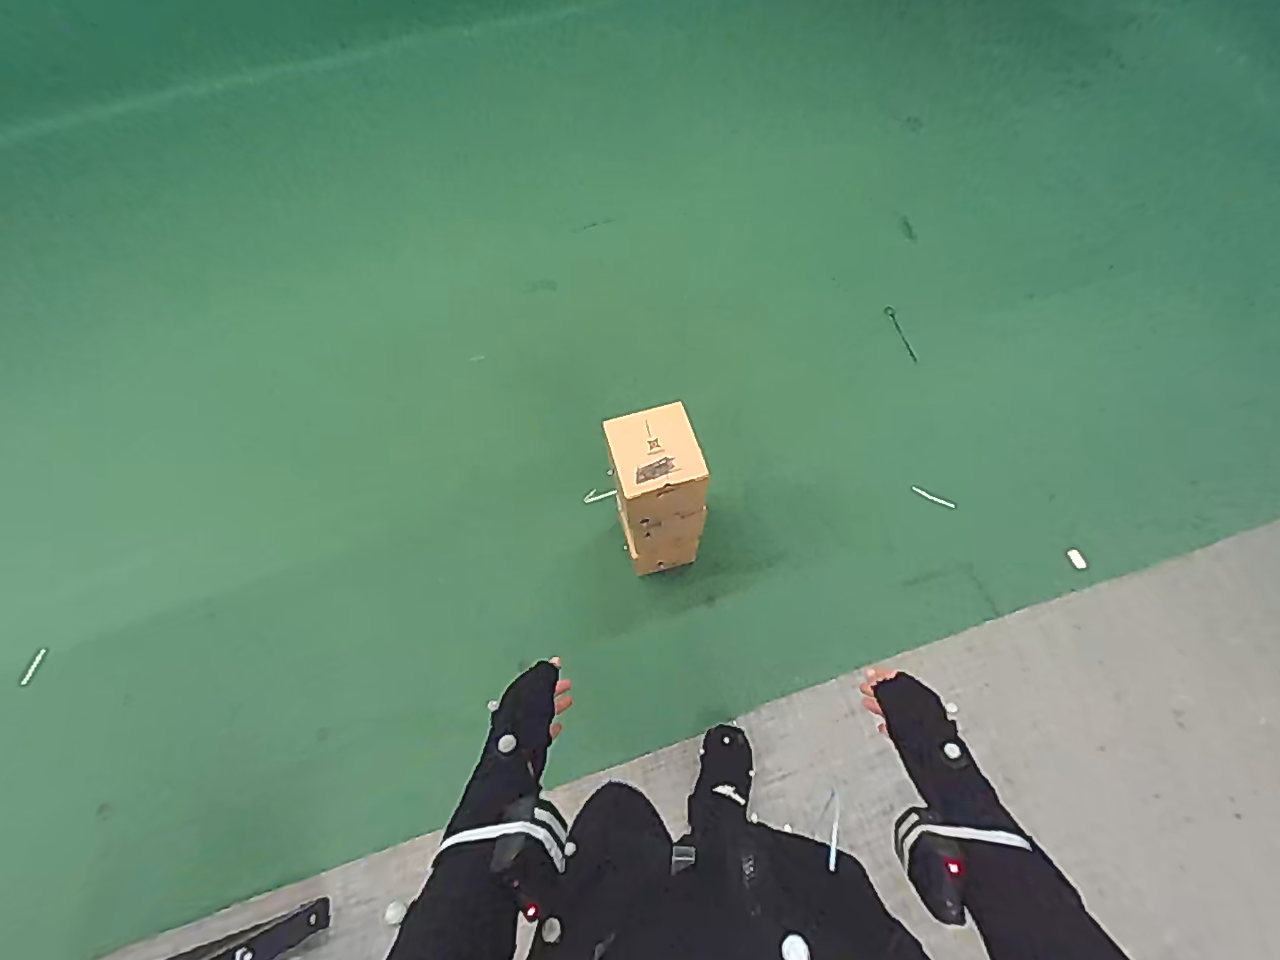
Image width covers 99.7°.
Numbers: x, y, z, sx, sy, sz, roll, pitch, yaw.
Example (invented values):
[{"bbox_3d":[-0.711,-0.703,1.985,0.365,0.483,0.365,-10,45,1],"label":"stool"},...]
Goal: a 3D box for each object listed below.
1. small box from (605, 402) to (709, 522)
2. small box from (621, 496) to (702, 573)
[{"bbox_3d":[0.035,-0.028,1.109,0.168,0.176,0.179,-15,65,-5],"label":"small box"},{"bbox_3d":[0.051,0.122,1.403,0.168,0.176,0.179,-15,66,-4],"label":"small box"}]
